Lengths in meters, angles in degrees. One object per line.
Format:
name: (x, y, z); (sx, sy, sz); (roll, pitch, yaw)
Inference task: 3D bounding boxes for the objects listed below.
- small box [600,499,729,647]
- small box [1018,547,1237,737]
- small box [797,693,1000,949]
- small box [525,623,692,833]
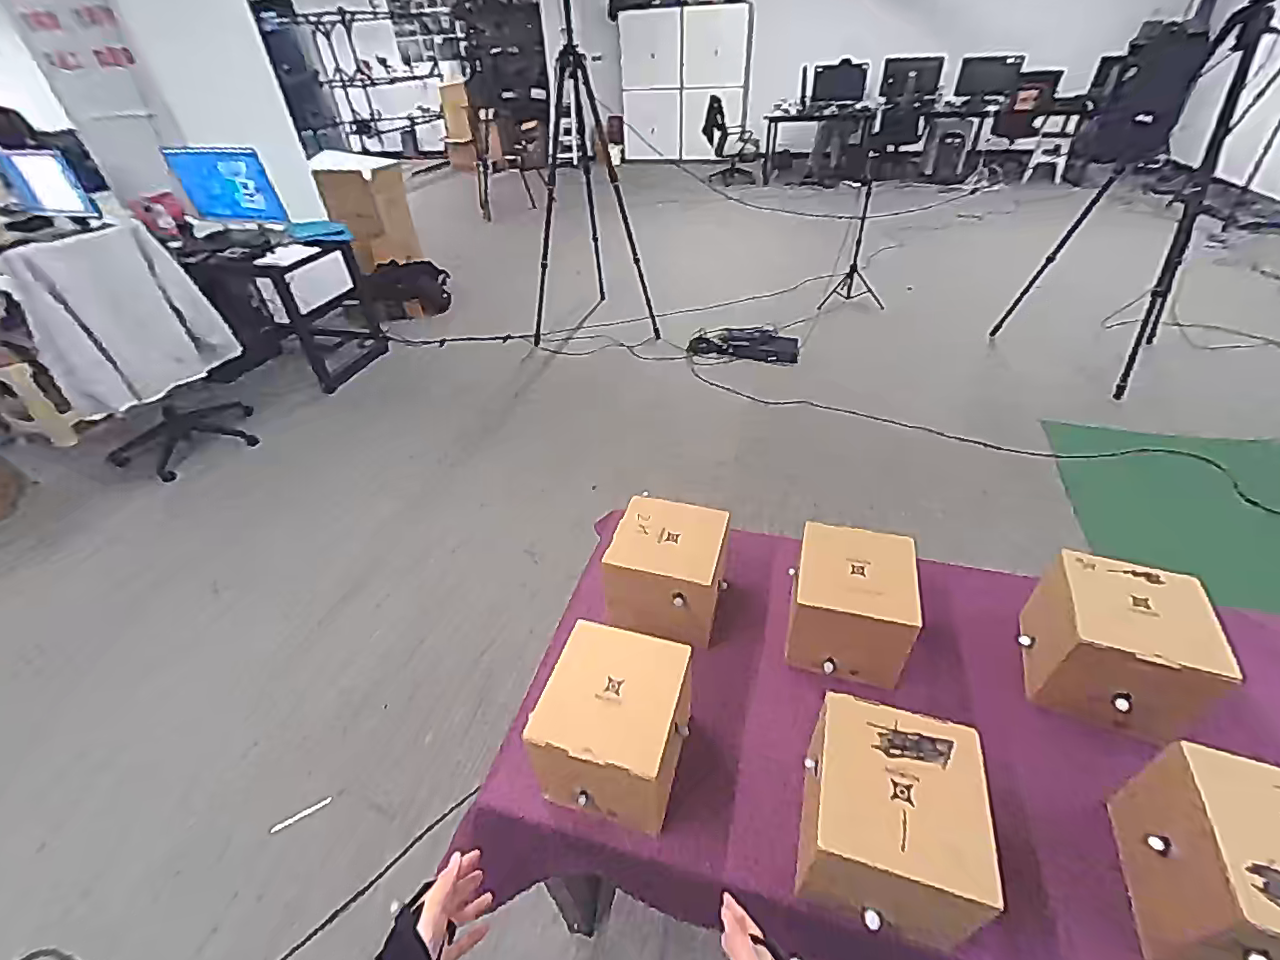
small box: (0.048, 0.159, 0.923); (0.179, 0.176, 0.168); (9, 40, 16)
small box: (0.671, 0.231, 0.773); (0.168, 0.176, 0.179); (13, 43, 20)
small box: (0.279, 0.384, 0.619); (0.168, 0.176, 0.179); (9, 40, 17)
small box: (-0.032, 0.327, 0.723); (0.168, 0.176, 0.179); (9, 41, 15)
